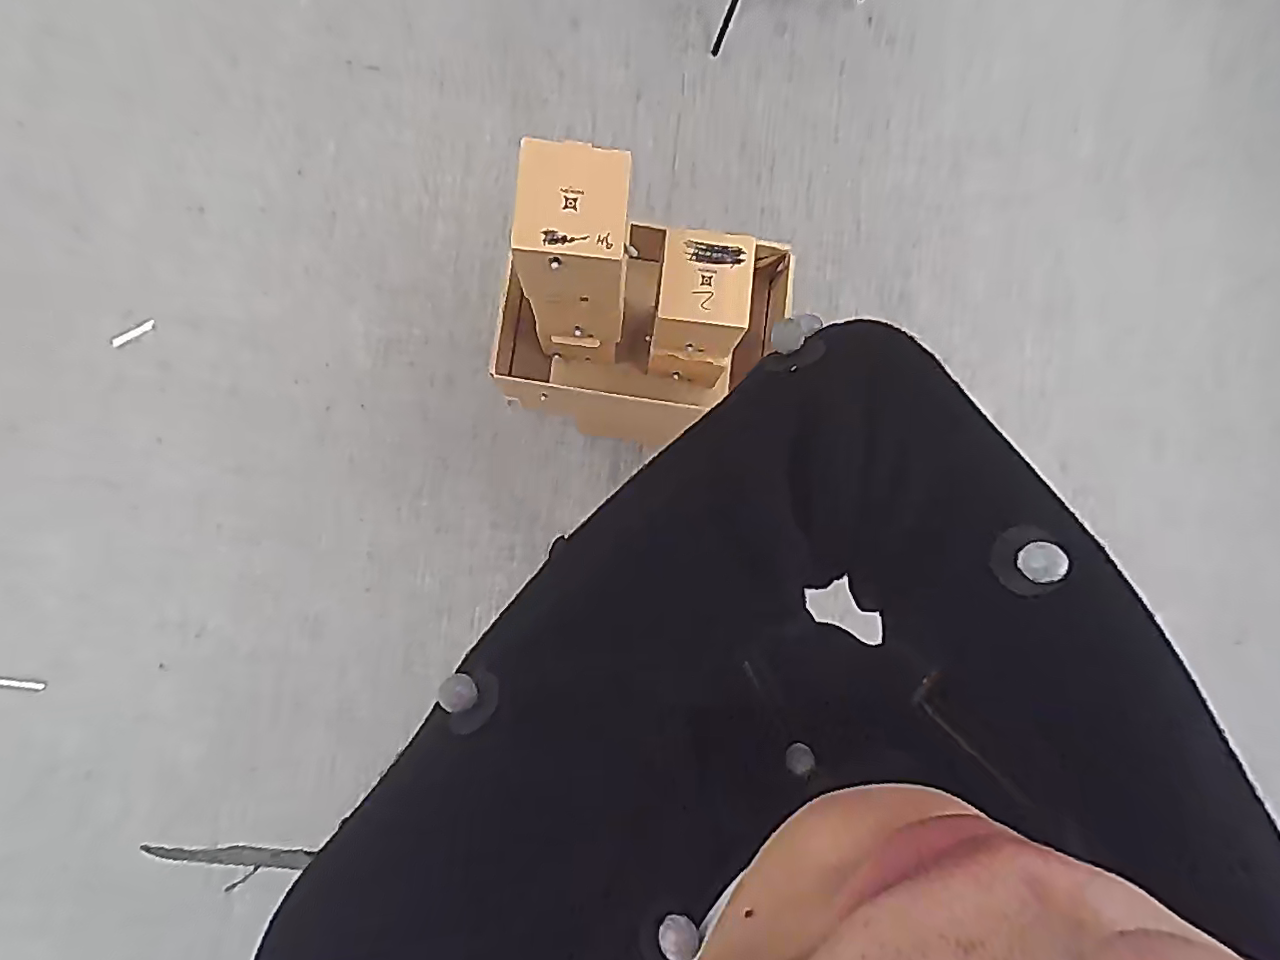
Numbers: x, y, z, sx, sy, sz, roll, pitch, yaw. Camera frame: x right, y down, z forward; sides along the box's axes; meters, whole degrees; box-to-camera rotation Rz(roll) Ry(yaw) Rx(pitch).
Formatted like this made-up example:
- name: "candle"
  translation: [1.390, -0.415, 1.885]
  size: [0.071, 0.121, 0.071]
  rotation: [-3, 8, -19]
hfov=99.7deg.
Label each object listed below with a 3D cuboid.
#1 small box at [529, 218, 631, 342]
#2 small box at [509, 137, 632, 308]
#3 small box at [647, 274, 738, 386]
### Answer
- name: "small box"
  translation: [-0.112, -0.384, 1.031]
  size: [0.168, 0.176, 0.179]
  rotation: [5, 85, -3]
- name: "small box"
  translation: [-0.107, -0.402, 0.868]
  size: [0.168, 0.176, 0.179]
  rotation: [5, 83, -3]
- name: "small box"
  translation: [0.110, -0.327, 1.208]
  size: [0.168, 0.176, 0.179]
  rotation: [10, 84, -2]
